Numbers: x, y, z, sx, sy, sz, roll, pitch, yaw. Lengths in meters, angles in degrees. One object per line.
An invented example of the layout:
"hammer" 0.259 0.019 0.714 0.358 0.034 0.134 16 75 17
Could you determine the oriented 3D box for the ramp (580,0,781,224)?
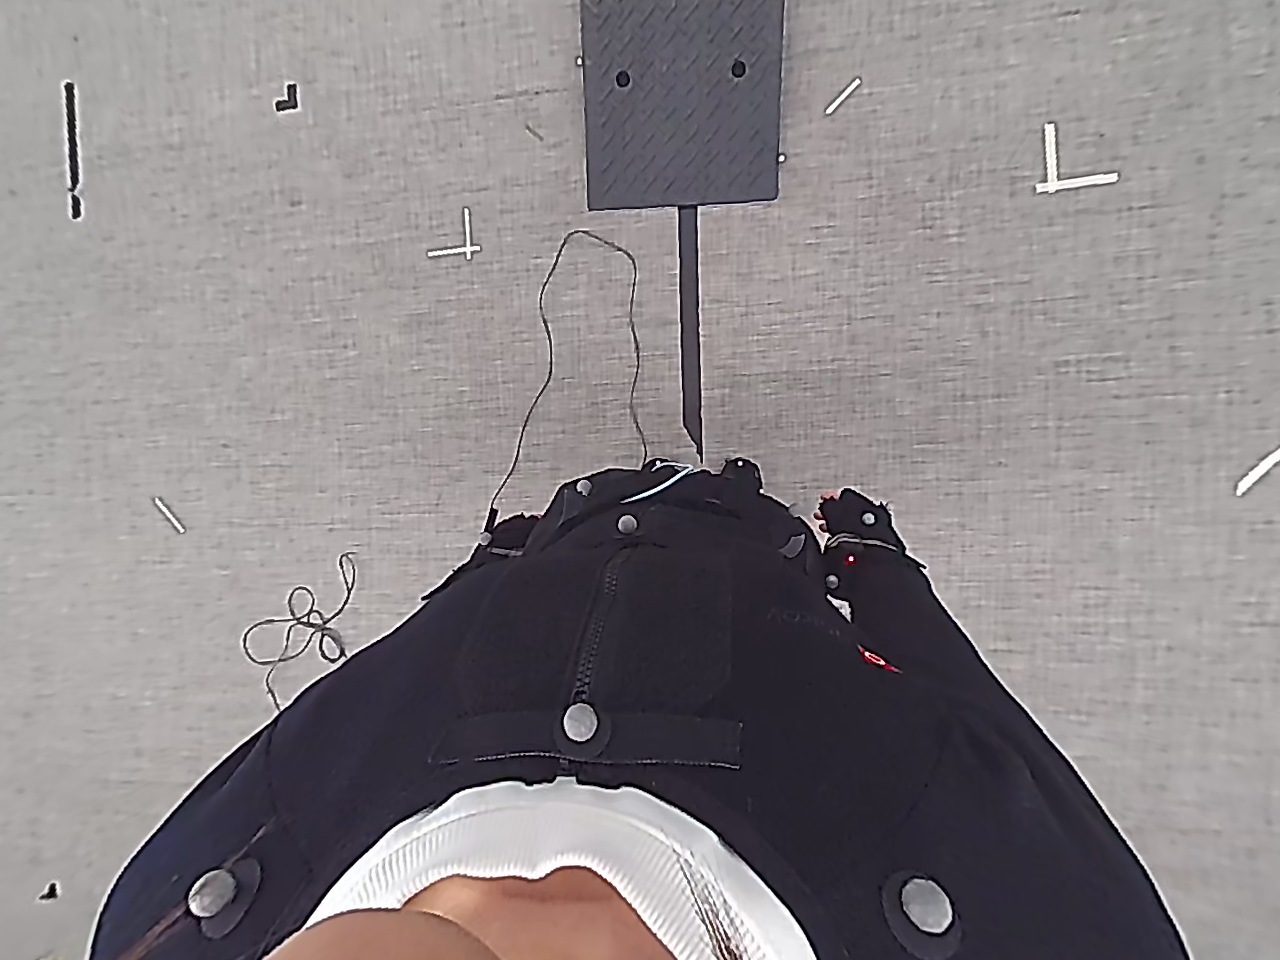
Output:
"ramp" 0.095 -1.182 1.322 0.509 0.206 0.991 -3 92 8
